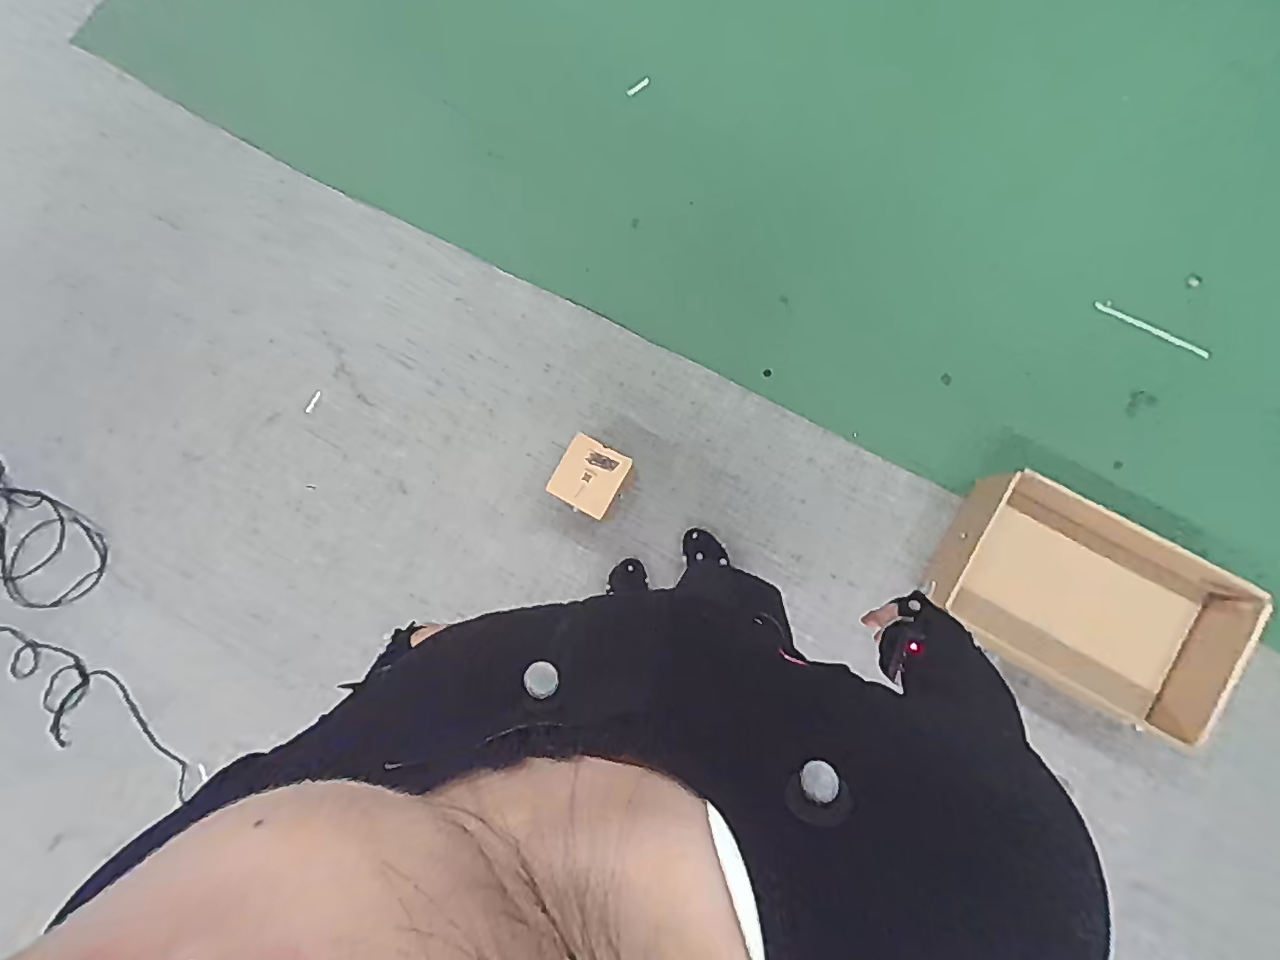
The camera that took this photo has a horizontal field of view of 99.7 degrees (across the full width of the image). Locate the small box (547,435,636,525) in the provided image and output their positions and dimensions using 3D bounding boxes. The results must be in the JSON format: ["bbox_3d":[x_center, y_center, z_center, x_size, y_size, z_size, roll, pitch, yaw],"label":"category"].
[{"bbox_3d":[-0.120,0.005,1.425,0.168,0.176,0.179,29,87,6],"label":"small box"}]
